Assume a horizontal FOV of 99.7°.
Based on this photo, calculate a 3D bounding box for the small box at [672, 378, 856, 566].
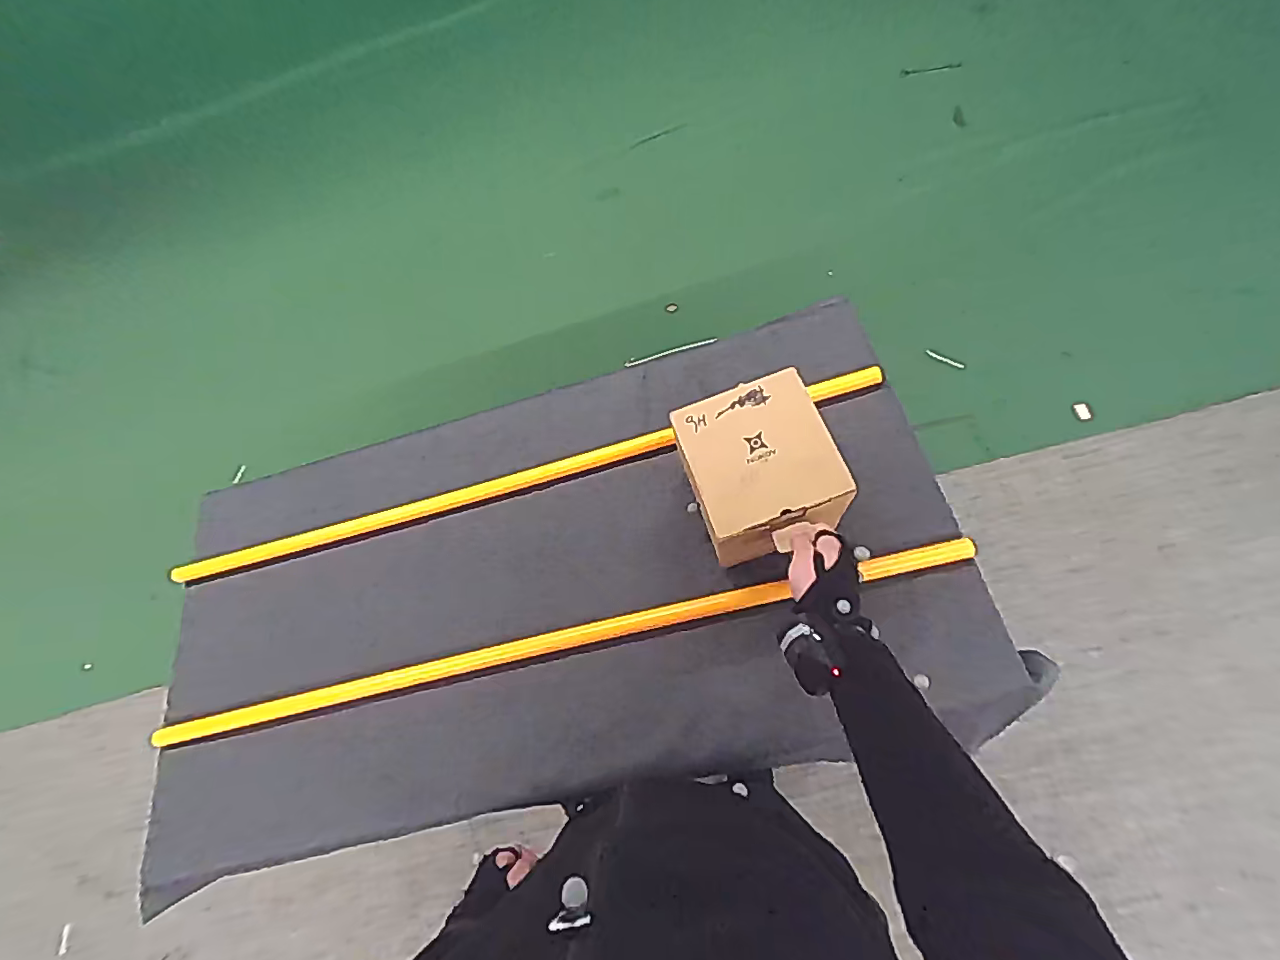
[{"bbox_3d":[0.159,0.003,0.715,0.168,0.176,0.179,-23,68,4],"label":"small box"}]
